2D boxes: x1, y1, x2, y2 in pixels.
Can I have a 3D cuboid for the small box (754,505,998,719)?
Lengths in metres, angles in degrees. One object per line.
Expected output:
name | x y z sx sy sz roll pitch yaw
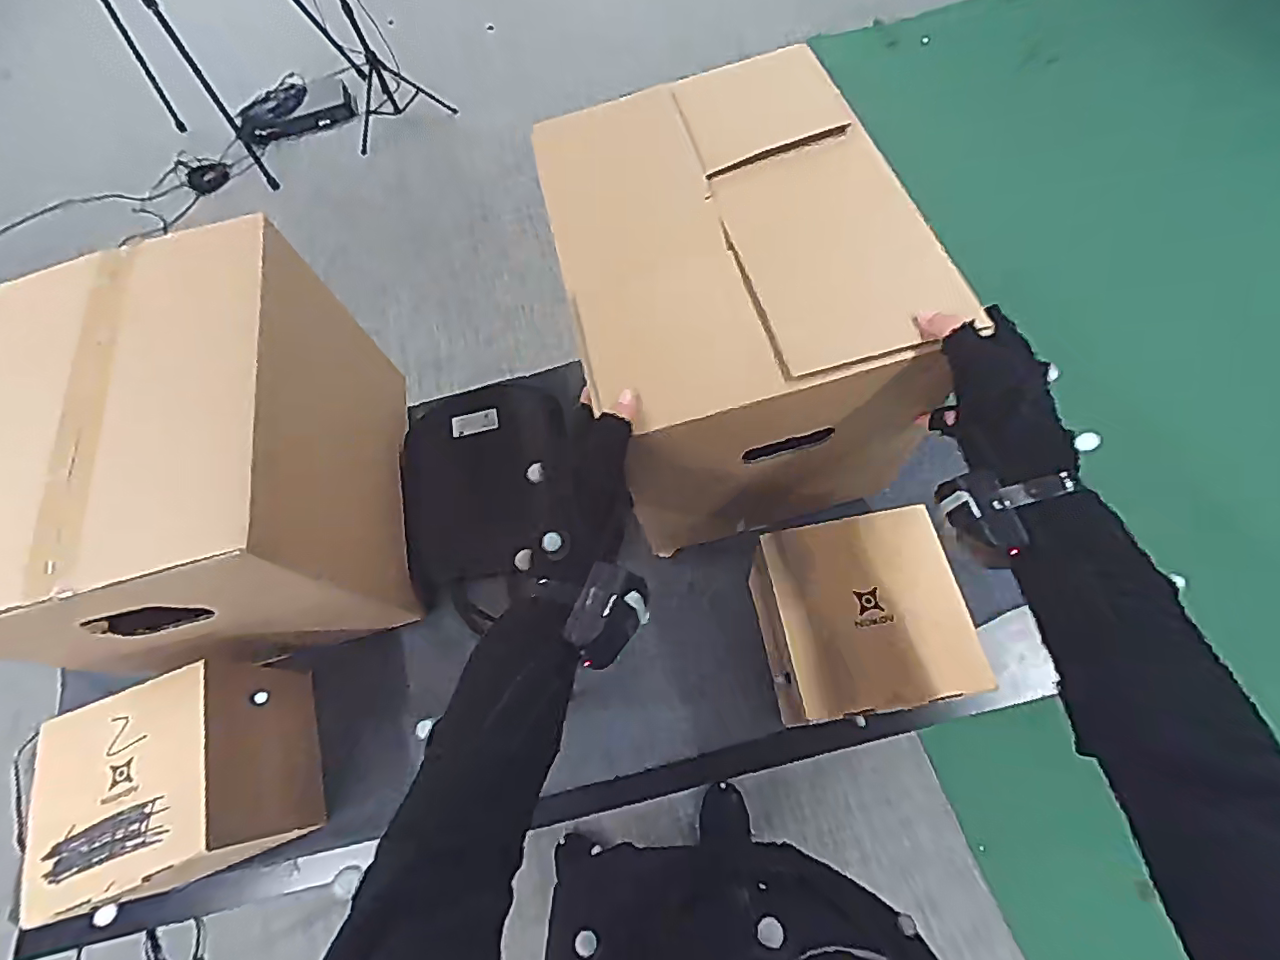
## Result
small box | 0.222 0.147 0.570 0.168 0.176 0.179 -11 66 3
